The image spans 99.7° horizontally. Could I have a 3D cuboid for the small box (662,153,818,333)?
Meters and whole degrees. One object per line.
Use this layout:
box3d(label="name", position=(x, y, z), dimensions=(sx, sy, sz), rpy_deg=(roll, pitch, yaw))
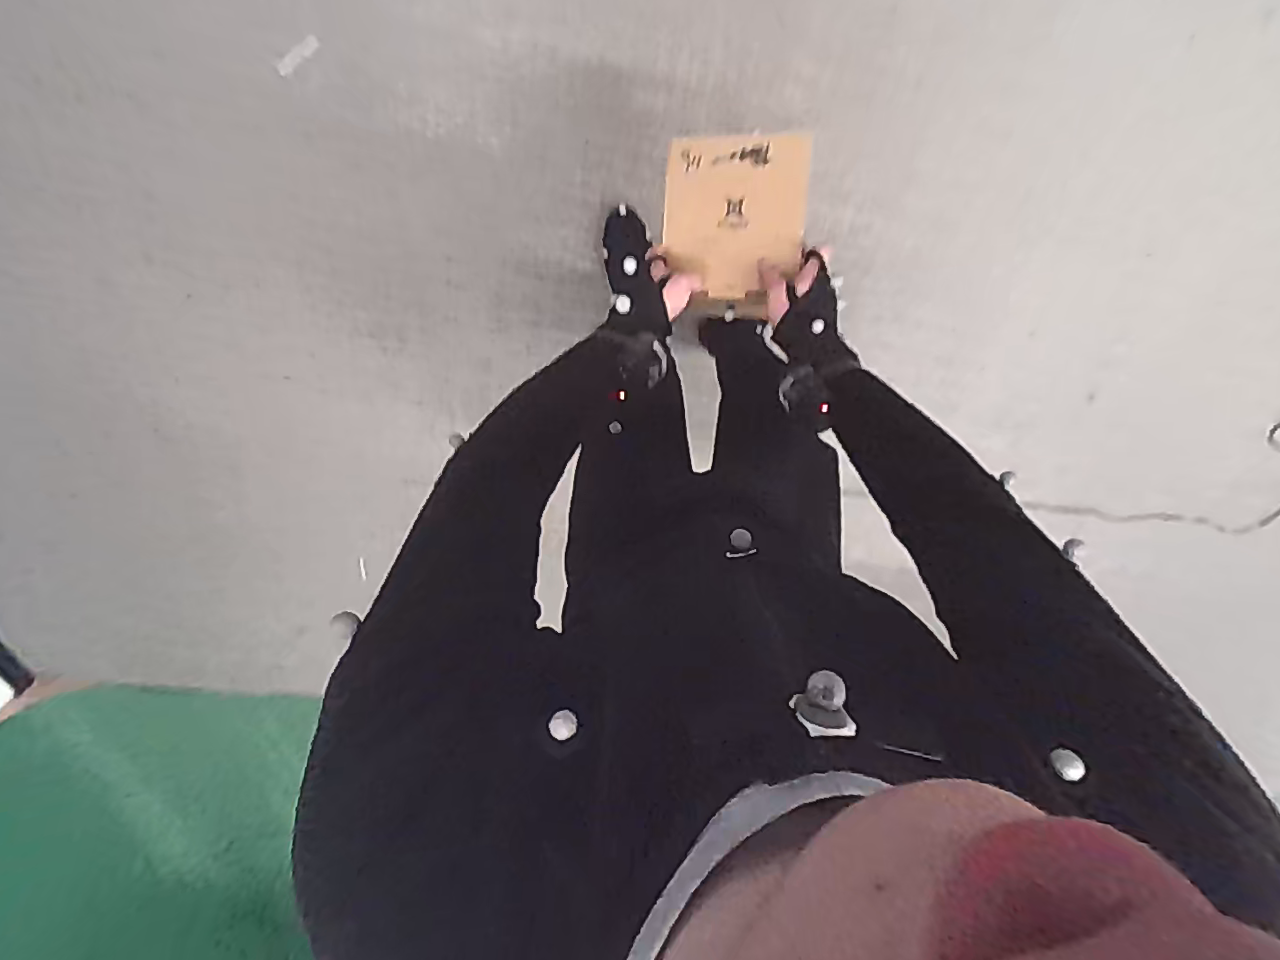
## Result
box3d(label="small box", position=(0.130, -0.289, 0.696), dimensions=(0.168, 0.176, 0.179), rpy_deg=(5, 97, 12))
